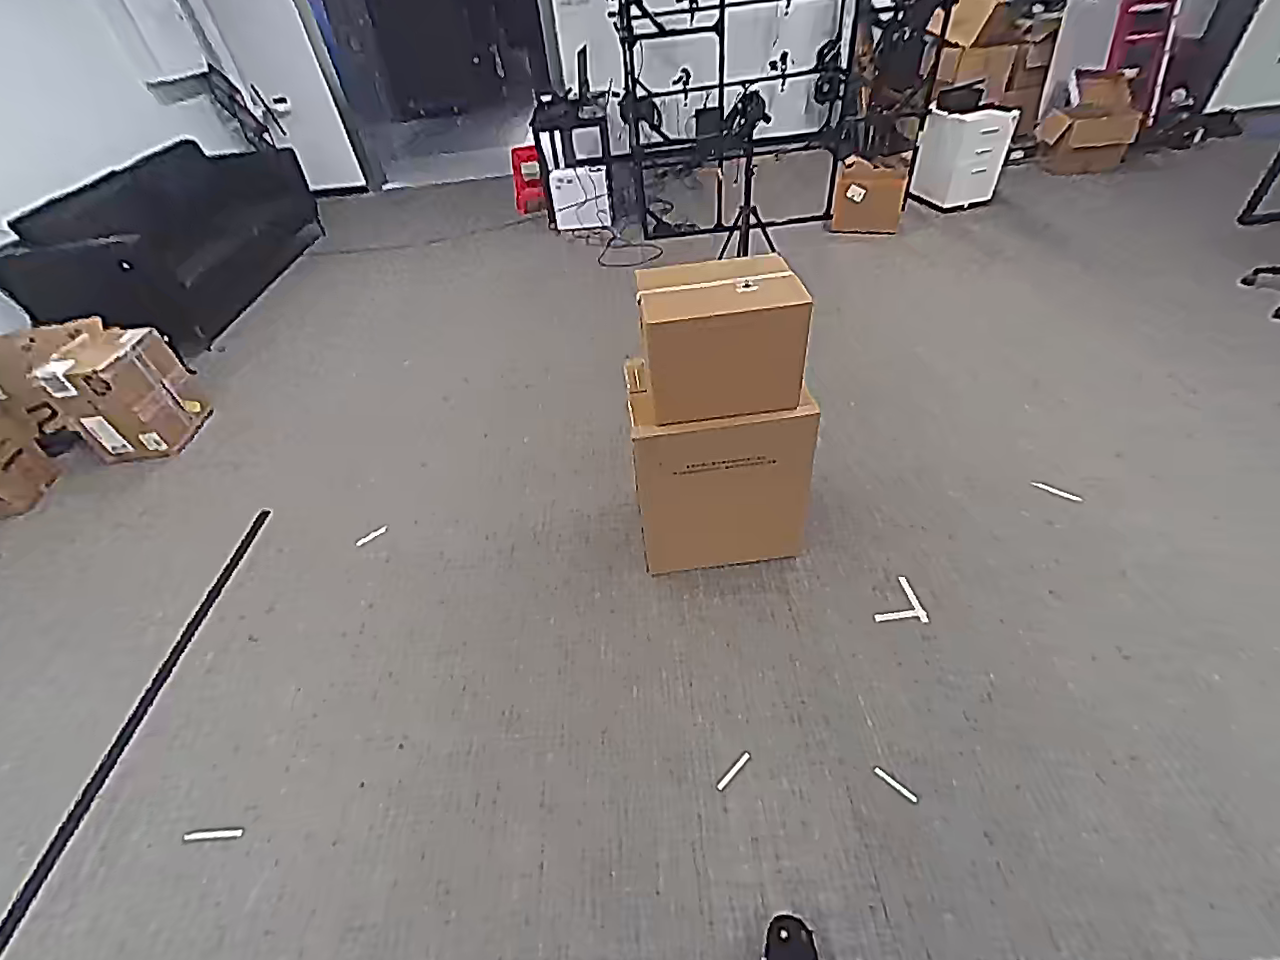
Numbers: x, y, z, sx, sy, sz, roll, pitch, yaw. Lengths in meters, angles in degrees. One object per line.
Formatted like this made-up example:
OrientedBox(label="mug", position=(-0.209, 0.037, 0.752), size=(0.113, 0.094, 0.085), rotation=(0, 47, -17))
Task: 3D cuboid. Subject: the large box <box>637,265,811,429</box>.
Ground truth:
OrientedBox(label="large box", position=(0.214, -0.371, 1.509), size=(0.408, 0.320, 0.320), rotation=(-7, 44, -1))
